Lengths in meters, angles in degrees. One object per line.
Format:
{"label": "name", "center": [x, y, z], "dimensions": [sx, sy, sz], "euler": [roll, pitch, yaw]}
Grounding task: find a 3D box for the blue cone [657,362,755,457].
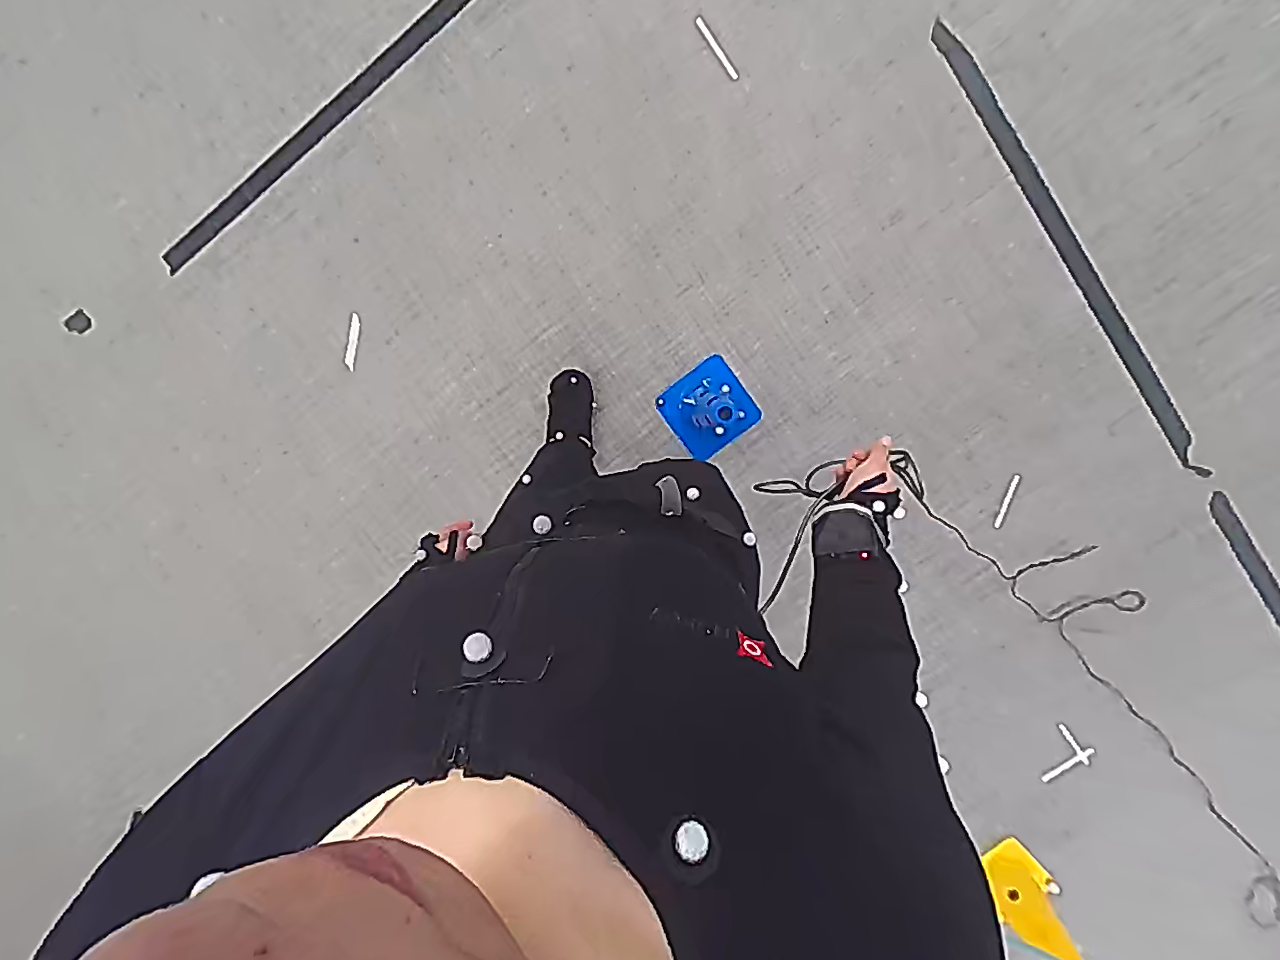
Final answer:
{"label": "blue cone", "center": [0.154, -0.144, 1.155], "dimensions": [0.192, 0.380, 0.193], "euler": [-35, 96, 8]}
